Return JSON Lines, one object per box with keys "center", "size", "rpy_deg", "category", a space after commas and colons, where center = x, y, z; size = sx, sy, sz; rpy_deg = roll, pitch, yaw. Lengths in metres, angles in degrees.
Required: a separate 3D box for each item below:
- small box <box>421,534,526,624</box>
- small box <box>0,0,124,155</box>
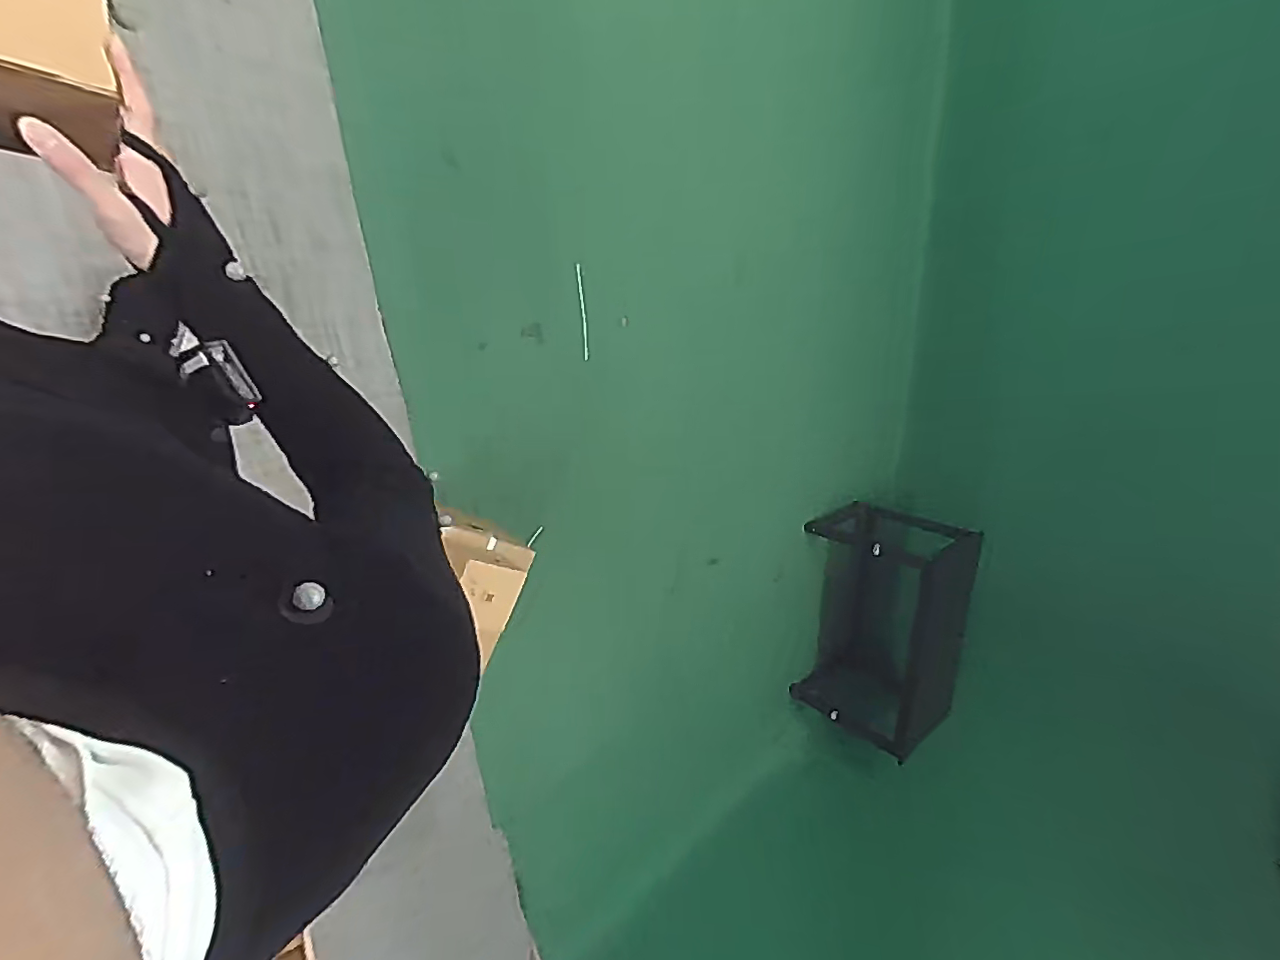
{"center": [-0.435, 0.254, 1.403], "size": [0.179, 0.176, 0.168], "rpy_deg": [25, 87, -42], "category": "small box"}
{"center": [-0.498, -0.375, 0.389], "size": [0.168, 0.176, 0.179], "rpy_deg": [-8, 101, -44], "category": "small box"}
